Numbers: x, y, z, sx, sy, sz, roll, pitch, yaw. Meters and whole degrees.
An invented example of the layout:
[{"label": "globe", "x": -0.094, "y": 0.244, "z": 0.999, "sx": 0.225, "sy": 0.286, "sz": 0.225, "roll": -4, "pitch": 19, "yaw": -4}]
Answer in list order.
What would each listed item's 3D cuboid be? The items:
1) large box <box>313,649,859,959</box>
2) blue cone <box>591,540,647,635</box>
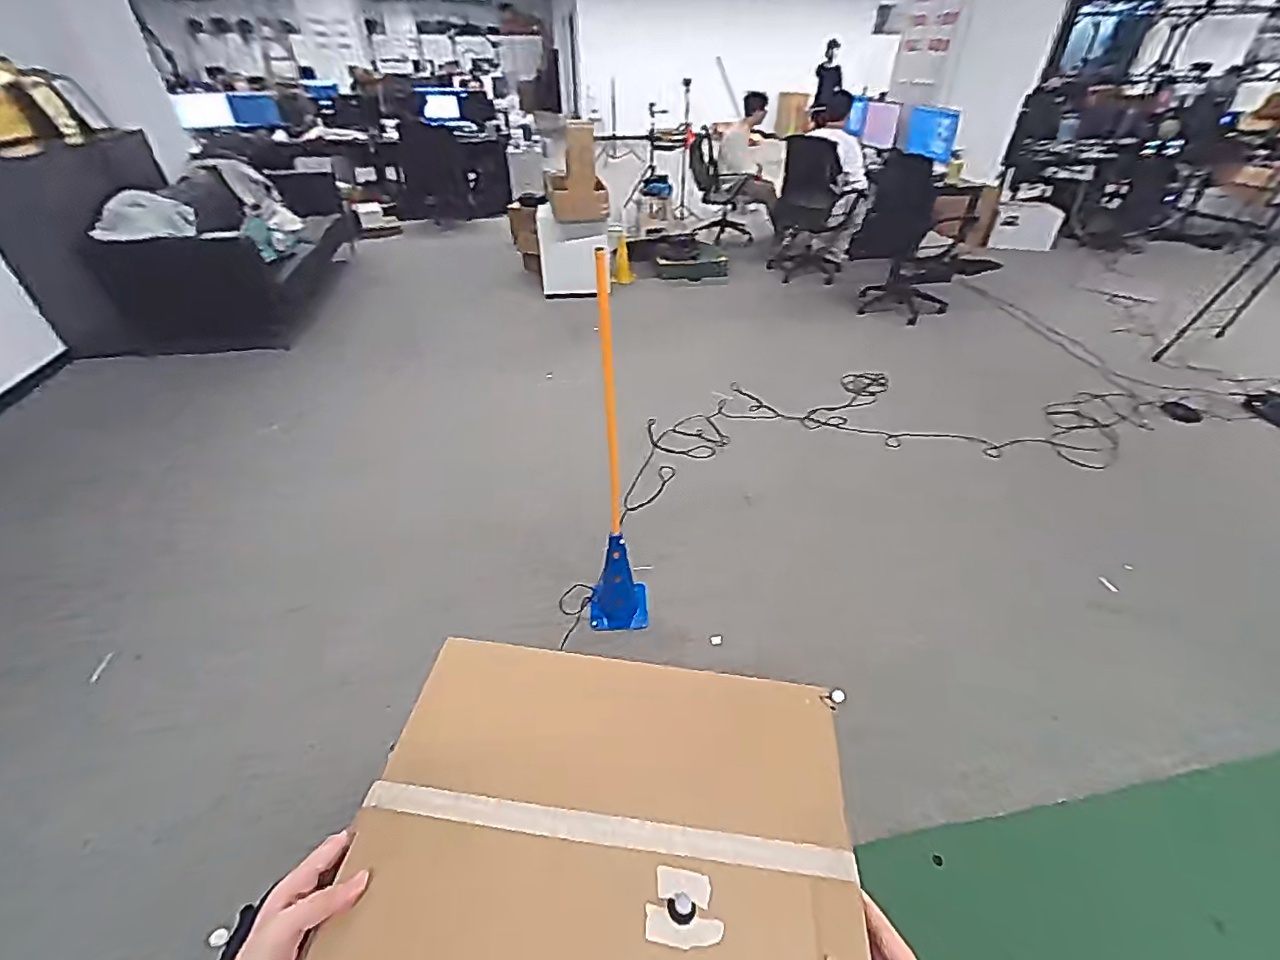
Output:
[{"label": "large box", "x": -0.036, "y": 0.411, "z": 0.552, "sx": 0.408, "sy": 0.320, "sz": 0.320, "roll": 6, "pitch": 41, "yaw": 3}, {"label": "blue cone", "x": -0.075, "y": 0.338, "z": 1.803, "sx": 0.193, "sy": 0.380, "sz": 0.192, "roll": -1, "pitch": 38, "yaw": -1}]
